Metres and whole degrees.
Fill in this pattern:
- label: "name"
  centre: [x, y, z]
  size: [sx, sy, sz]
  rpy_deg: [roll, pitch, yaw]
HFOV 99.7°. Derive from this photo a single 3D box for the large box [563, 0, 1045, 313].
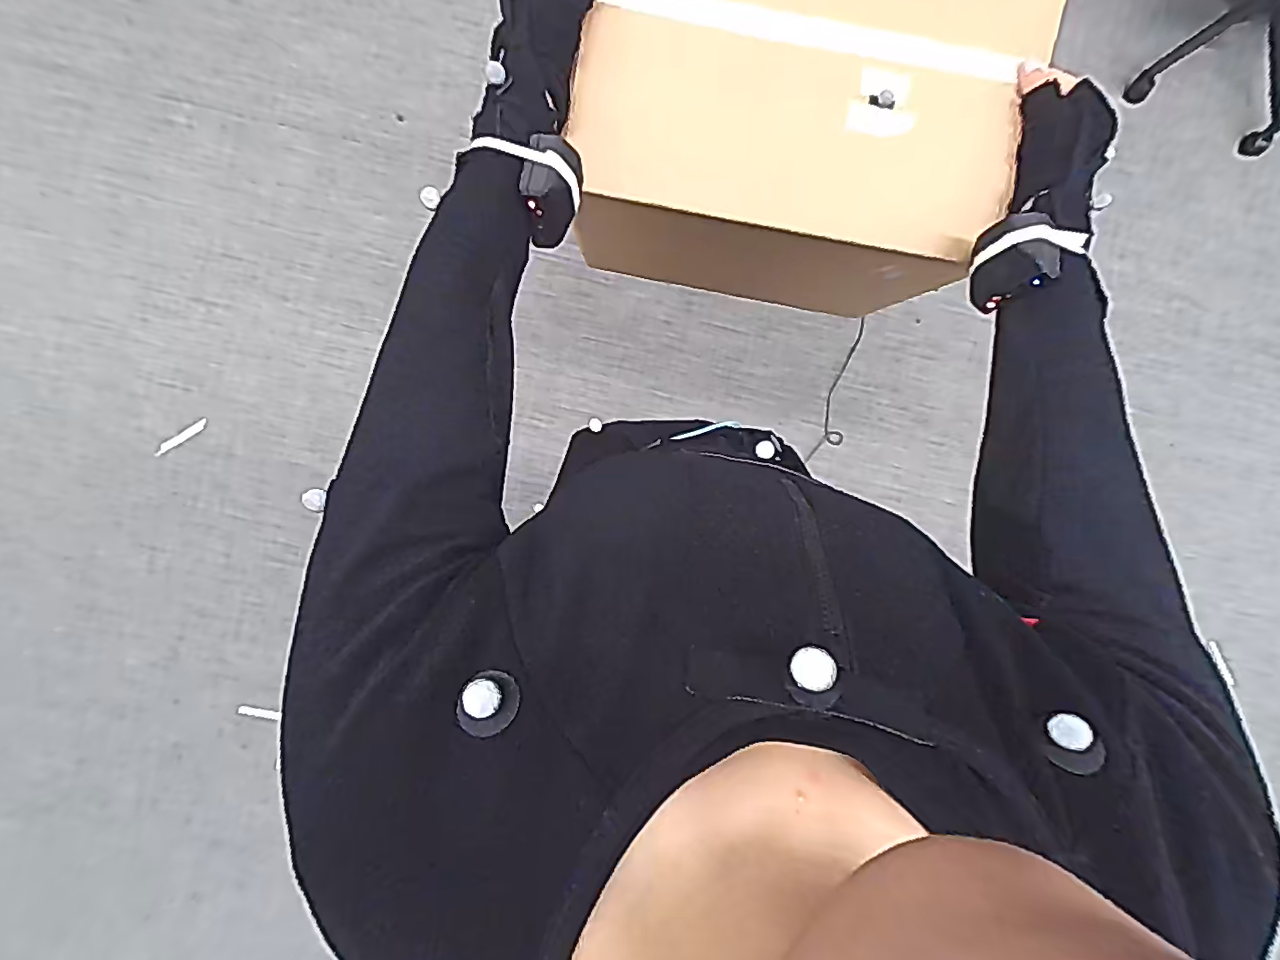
- label: "large box"
  centre: [0.143, -0.402, 0.623]
  size: [0.408, 0.320, 0.320]
  rpy_deg: [10, 99, -3]
